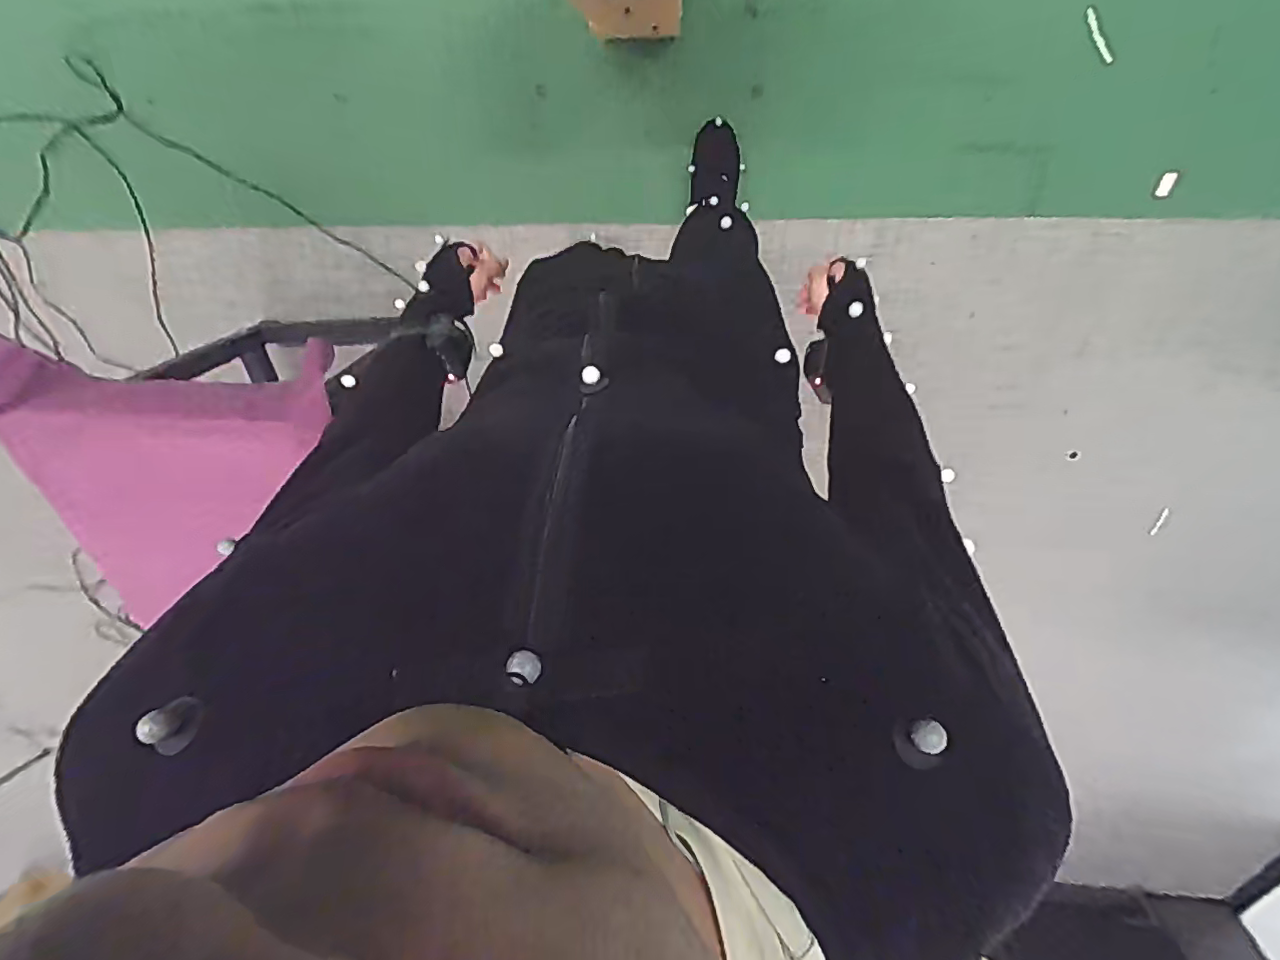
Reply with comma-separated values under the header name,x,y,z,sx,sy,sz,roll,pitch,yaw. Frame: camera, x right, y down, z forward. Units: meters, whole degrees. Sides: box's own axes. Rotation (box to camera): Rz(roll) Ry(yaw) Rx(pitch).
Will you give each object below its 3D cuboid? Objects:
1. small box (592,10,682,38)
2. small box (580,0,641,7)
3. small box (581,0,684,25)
name,x,y,z,sx,sy,sz,roll,pitch,yaw
small box,-0.002,-0.998,1.075,0.179,0.176,0.168,2,122,5
small box,-0.029,-0.828,0.798,0.179,0.176,0.168,-2,123,7
small box,-0.011,-0.914,0.936,0.179,0.176,0.168,0,122,7
